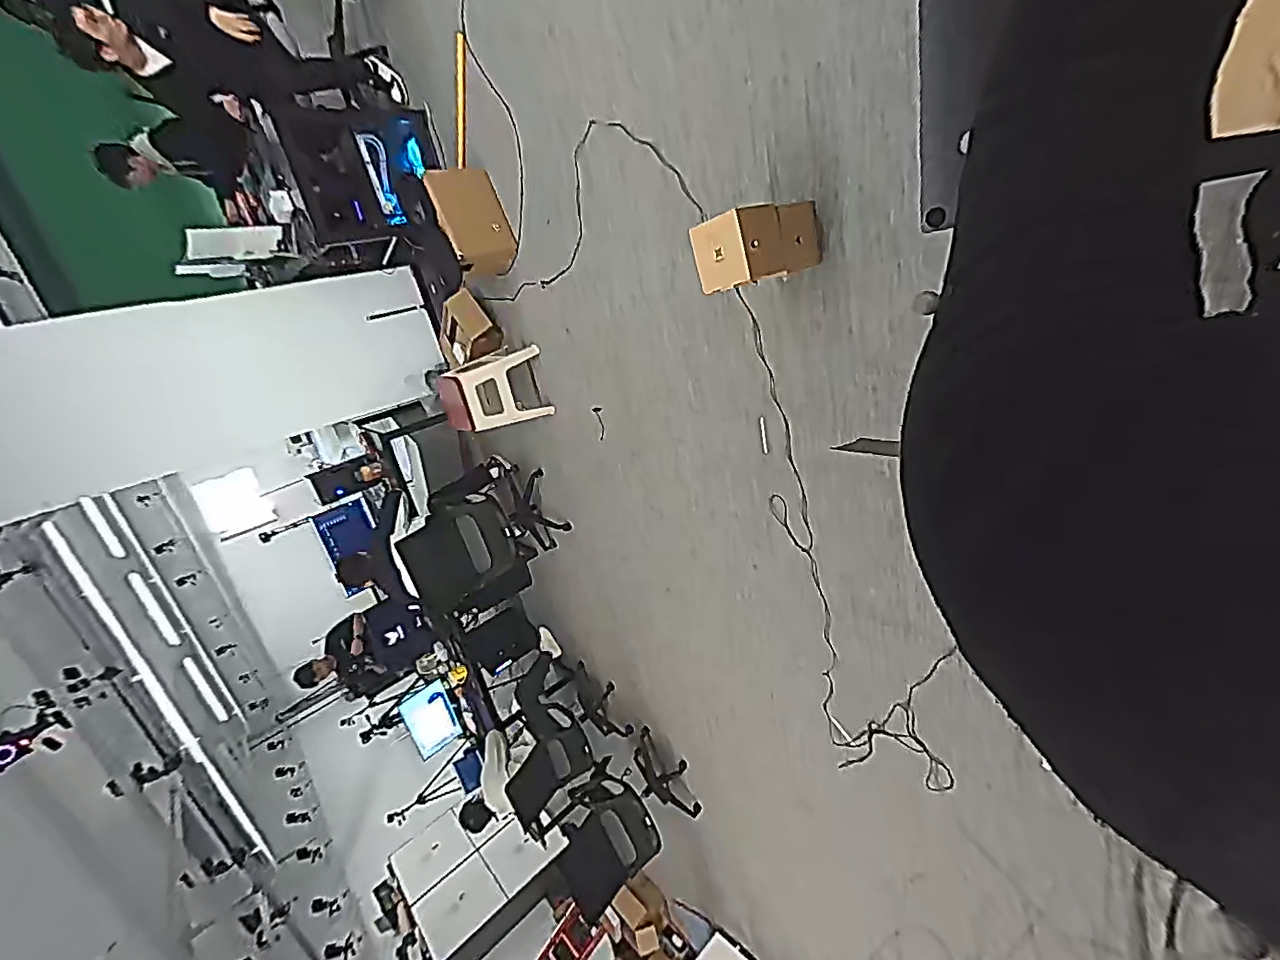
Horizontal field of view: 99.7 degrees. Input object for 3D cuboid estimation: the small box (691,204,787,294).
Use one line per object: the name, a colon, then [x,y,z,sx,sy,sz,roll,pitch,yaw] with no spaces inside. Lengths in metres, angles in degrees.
small box: [0.268,-0.615,1.440,0.168,0.176,0.179,3,113,51]

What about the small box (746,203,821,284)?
small box: [0.390,-0.671,1.532,0.168,0.176,0.179,8,119,50]
